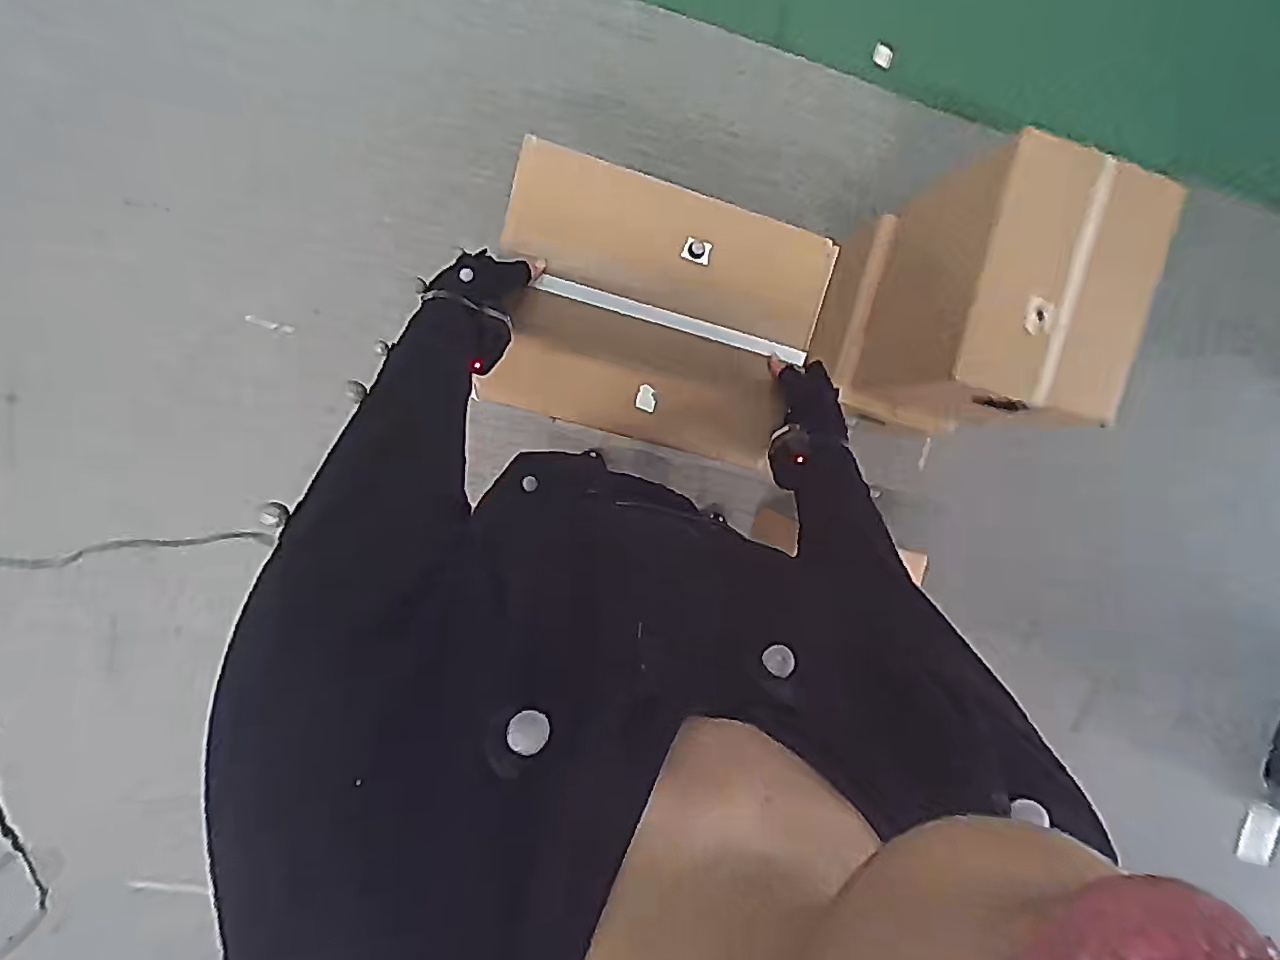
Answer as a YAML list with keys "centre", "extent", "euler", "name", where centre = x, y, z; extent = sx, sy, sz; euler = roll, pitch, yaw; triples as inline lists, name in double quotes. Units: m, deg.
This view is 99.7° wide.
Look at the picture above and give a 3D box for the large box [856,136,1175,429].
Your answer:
- centre: [0.673, -0.332, 1.028]
  extent: [0.320, 0.320, 0.408]
  euler: [14, 95, -10]
  name: "large box"
